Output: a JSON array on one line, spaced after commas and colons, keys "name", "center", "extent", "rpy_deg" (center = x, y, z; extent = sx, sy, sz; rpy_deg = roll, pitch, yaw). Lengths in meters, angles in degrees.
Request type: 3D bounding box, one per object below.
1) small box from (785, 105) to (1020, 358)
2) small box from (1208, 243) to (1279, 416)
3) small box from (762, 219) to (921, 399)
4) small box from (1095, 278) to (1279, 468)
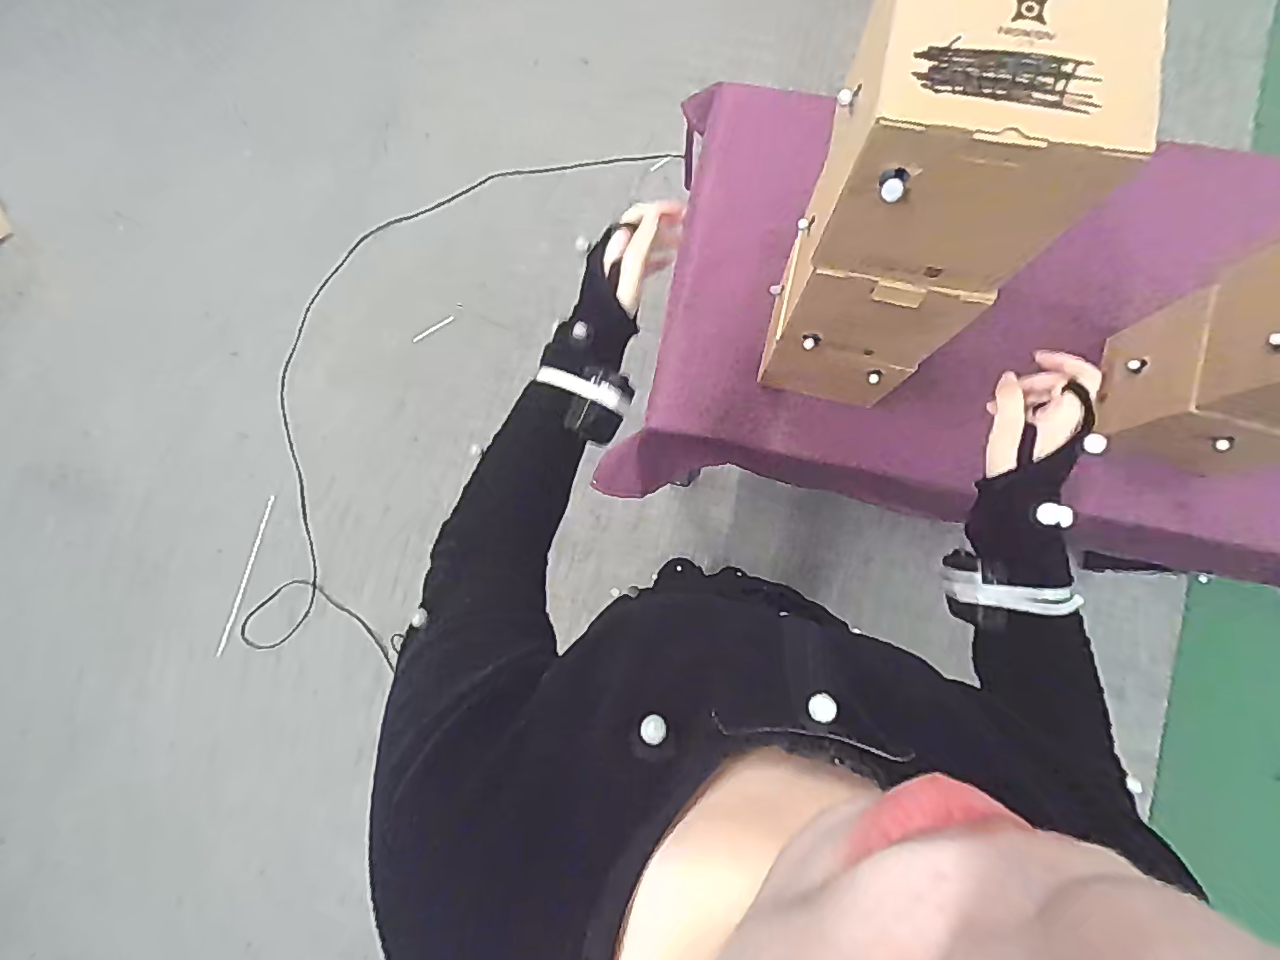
[{"name": "small box", "center": [0.263, -0.252, 0.584], "extent": [0.168, 0.176, 0.179], "rpy_deg": [13, 82, 6]}, {"name": "small box", "center": [0.729, -0.155, 0.529], "extent": [0.168, 0.176, 0.179], "rpy_deg": [18, 83, 7]}, {"name": "small box", "center": [0.277, -0.224, 0.745], "extent": [0.179, 0.176, 0.168], "rpy_deg": [14, 83, 6]}, {"name": "small box", "center": [0.740, -0.123, 0.689], "extent": [0.179, 0.176, 0.168], "rpy_deg": [18, 84, 7]}]
